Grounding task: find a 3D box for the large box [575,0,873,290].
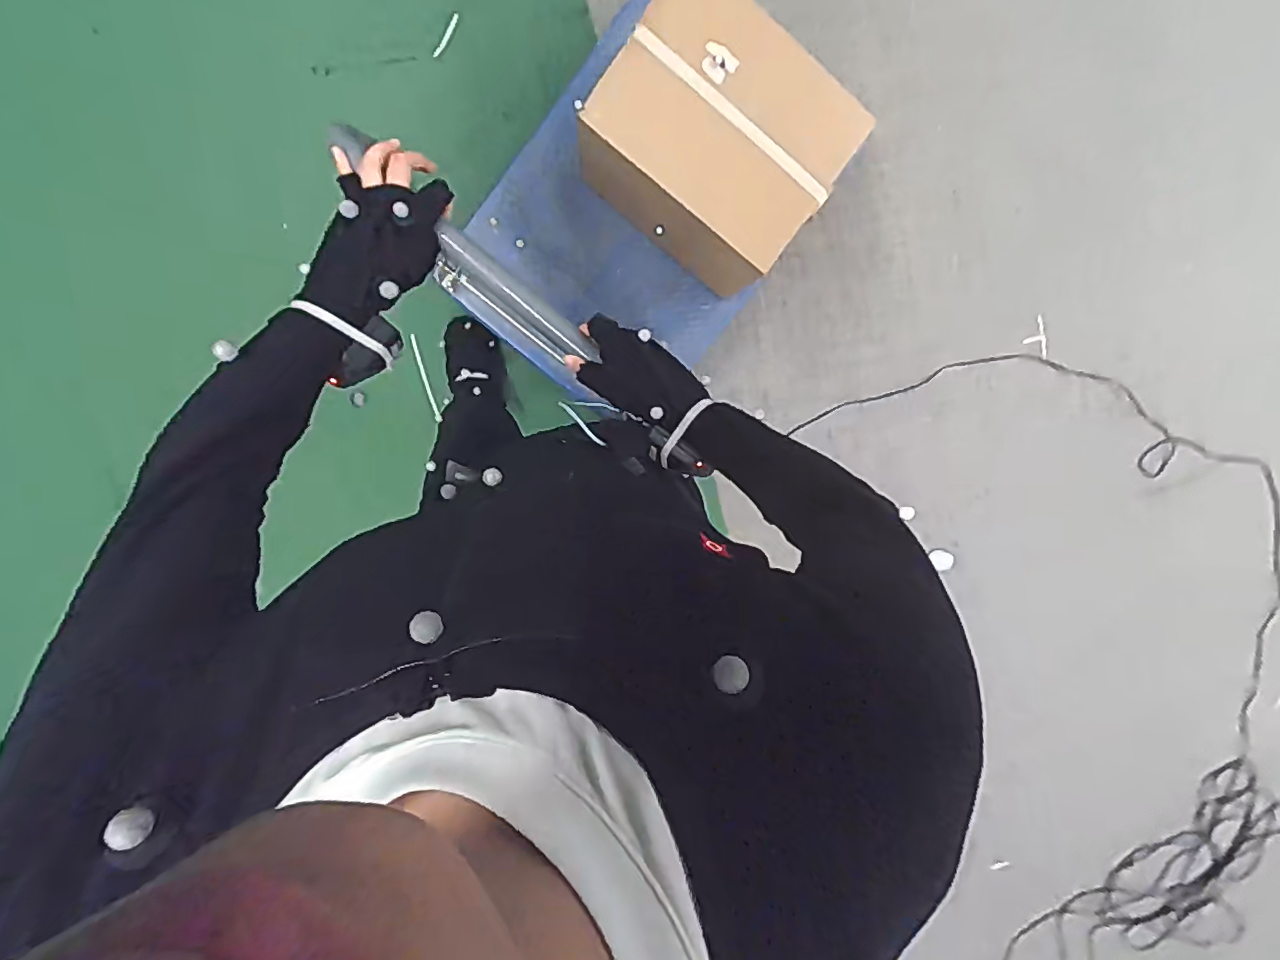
[{"bbox_3d":[0.135,-0.629,1.031,0.408,0.320,0.320,37,96,-9],"label":"large box"}]
